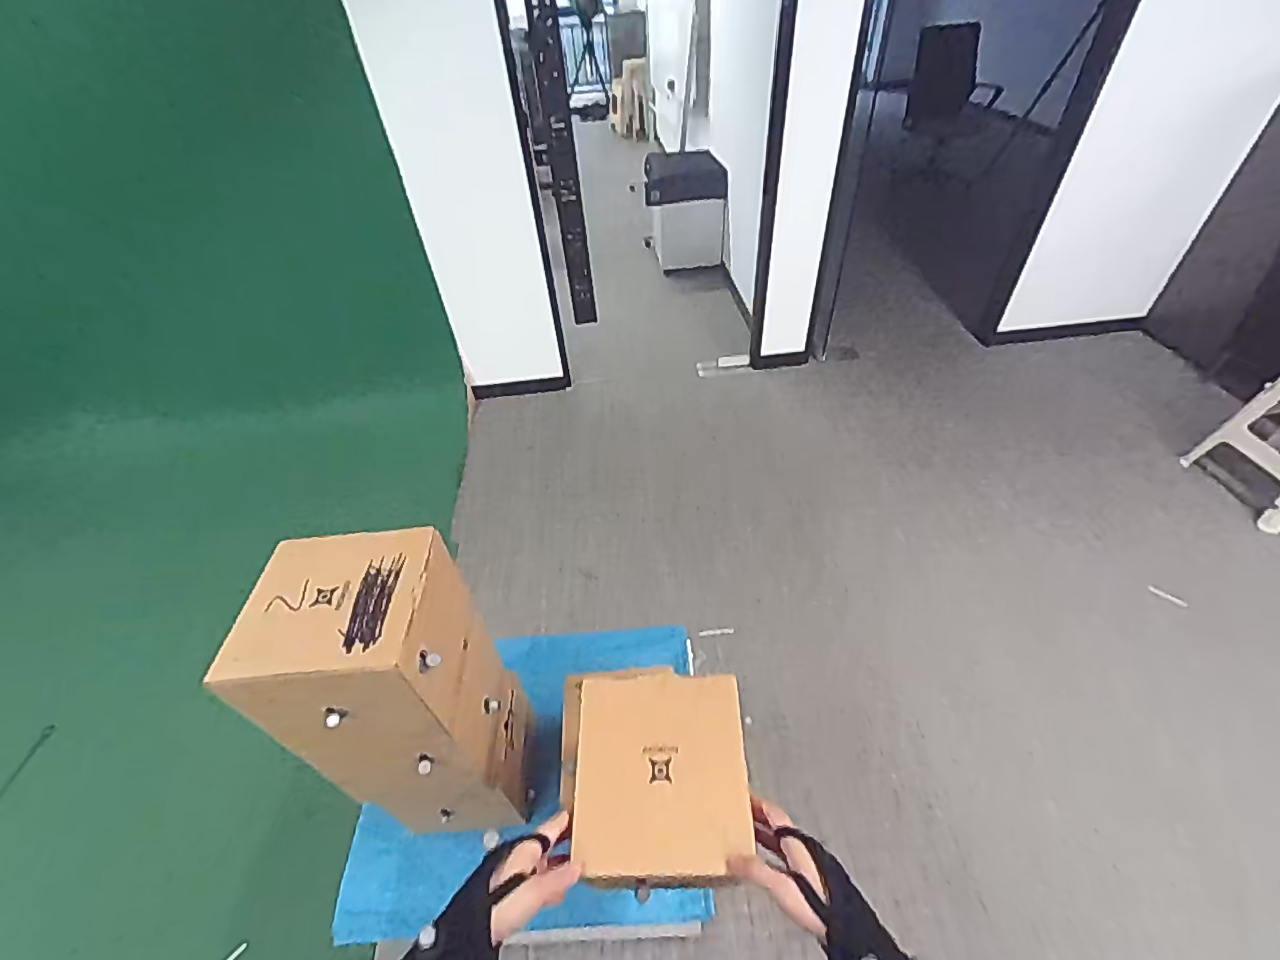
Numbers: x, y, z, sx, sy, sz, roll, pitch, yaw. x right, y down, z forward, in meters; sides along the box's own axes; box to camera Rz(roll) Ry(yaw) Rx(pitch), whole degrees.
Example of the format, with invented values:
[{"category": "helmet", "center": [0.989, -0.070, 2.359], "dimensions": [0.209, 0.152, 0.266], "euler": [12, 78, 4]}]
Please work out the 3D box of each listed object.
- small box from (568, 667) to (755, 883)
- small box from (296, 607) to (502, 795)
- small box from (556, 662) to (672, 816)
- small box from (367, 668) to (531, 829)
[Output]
[{"category": "small box", "center": [0.024, 0.318, 0.578], "dimensions": [0.168, 0.176, 0.179], "euler": [-2, 48, 2]}, {"category": "small box", "center": [-0.285, 0.284, 0.693], "dimensions": [0.179, 0.176, 0.168], "euler": [-5, 43, 0]}, {"category": "small box", "center": [-0.024, 0.394, 0.795], "dimensions": [0.168, 0.176, 0.179], "euler": [-5, 44, 0]}, {"category": "small box", "center": [-0.267, 0.401, 0.808], "dimensions": [0.179, 0.176, 0.168], "euler": [-5, 43, 0]}]
